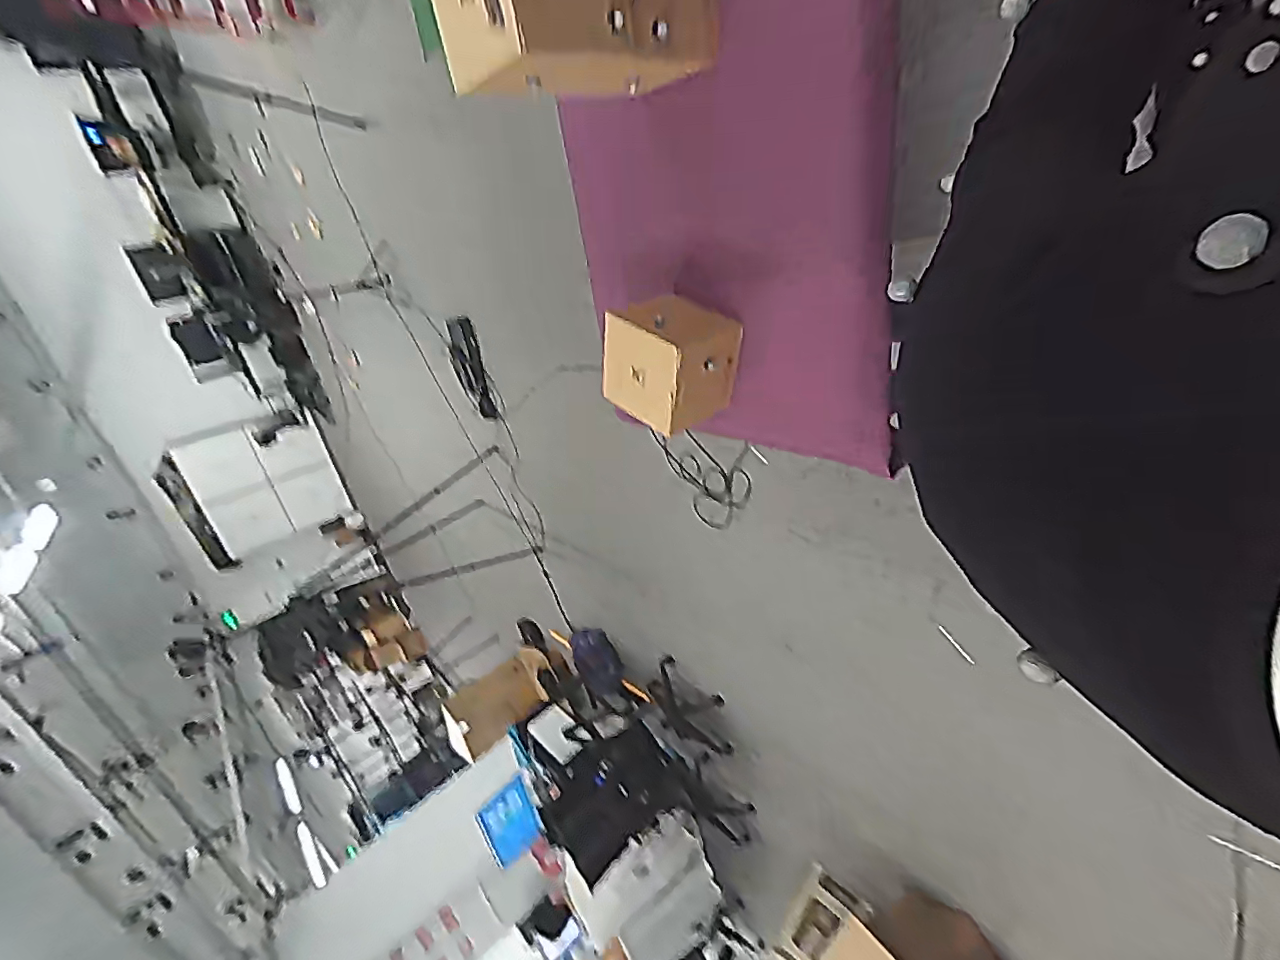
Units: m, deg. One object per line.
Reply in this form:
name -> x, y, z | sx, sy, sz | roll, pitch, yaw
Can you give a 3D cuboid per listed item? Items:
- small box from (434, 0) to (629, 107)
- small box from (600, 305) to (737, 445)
small box -> -0.129, -0.572, 0.652 | 0.179, 0.176, 0.168 | 19, 127, 46
small box -> 0.047, -0.195, 0.960 | 0.179, 0.176, 0.168 | 36, 138, 32
